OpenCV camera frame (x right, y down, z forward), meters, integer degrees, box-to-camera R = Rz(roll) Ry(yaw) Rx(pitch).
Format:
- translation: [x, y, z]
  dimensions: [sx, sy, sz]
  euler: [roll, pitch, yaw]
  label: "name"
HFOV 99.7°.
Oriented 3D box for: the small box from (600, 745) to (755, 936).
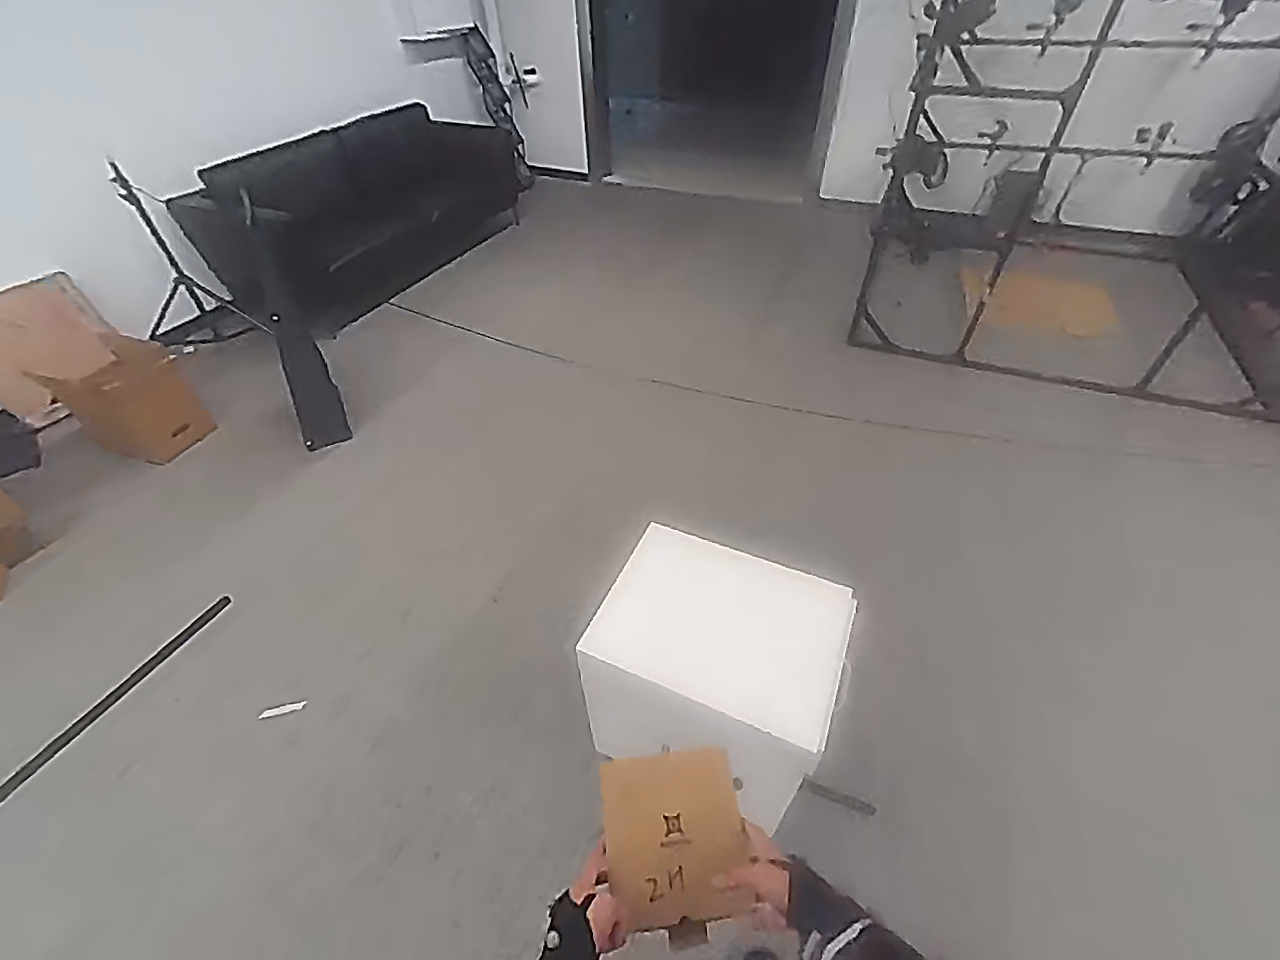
- translation: [0.042, 0.460, 0.710]
  dimensions: [0.168, 0.176, 0.179]
  euler: [-8, 61, -1]
  label: "small box"
